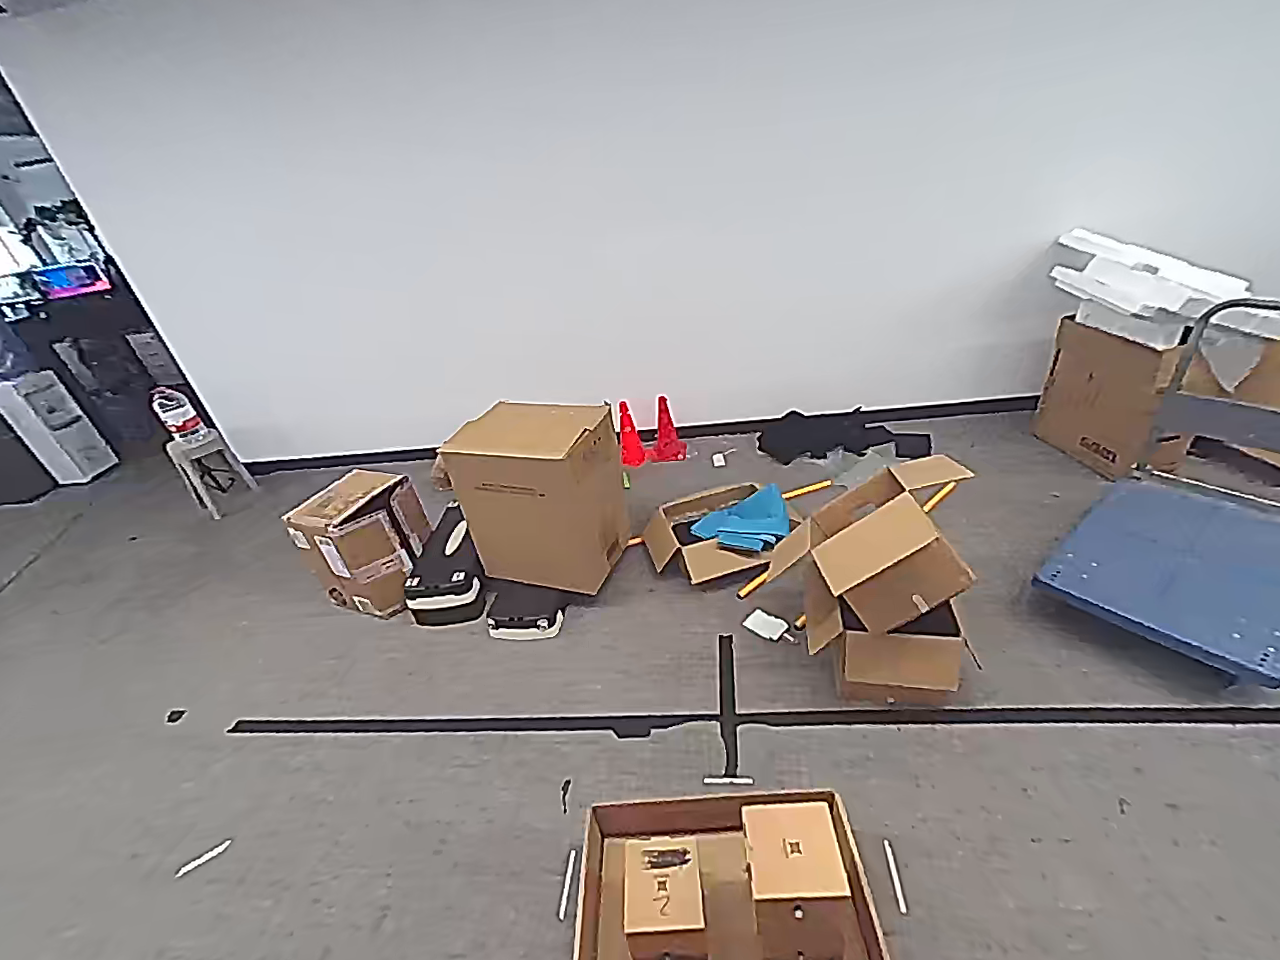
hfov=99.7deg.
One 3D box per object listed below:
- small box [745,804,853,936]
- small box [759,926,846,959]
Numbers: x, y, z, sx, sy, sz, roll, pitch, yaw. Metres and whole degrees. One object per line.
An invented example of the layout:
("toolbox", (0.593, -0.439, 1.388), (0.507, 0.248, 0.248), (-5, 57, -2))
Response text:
("small box", (0.309, 0.777, 1.079), (0.179, 0.176, 0.168), (-7, 31, 6))
("small box", (0.335, 0.912, 1.164), (0.168, 0.176, 0.179), (-6, 30, 6))
